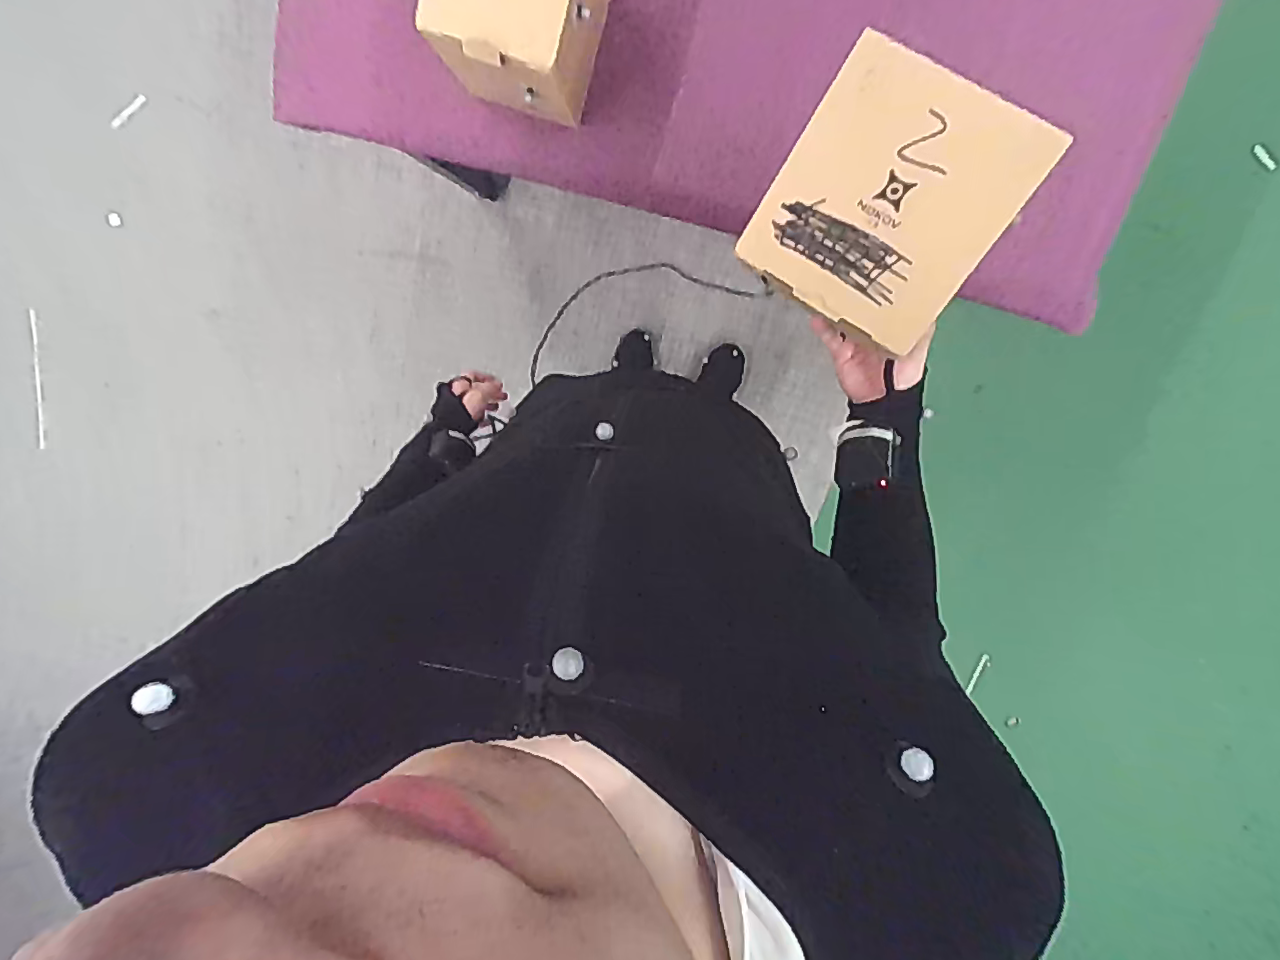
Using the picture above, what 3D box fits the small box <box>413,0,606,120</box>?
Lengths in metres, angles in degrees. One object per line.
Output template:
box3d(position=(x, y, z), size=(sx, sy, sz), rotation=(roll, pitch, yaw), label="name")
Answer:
box3d(position=(-0.147, -0.586, 0.665), size=(0.168, 0.176, 0.179), rotation=(19, 104, -1), label="small box")
